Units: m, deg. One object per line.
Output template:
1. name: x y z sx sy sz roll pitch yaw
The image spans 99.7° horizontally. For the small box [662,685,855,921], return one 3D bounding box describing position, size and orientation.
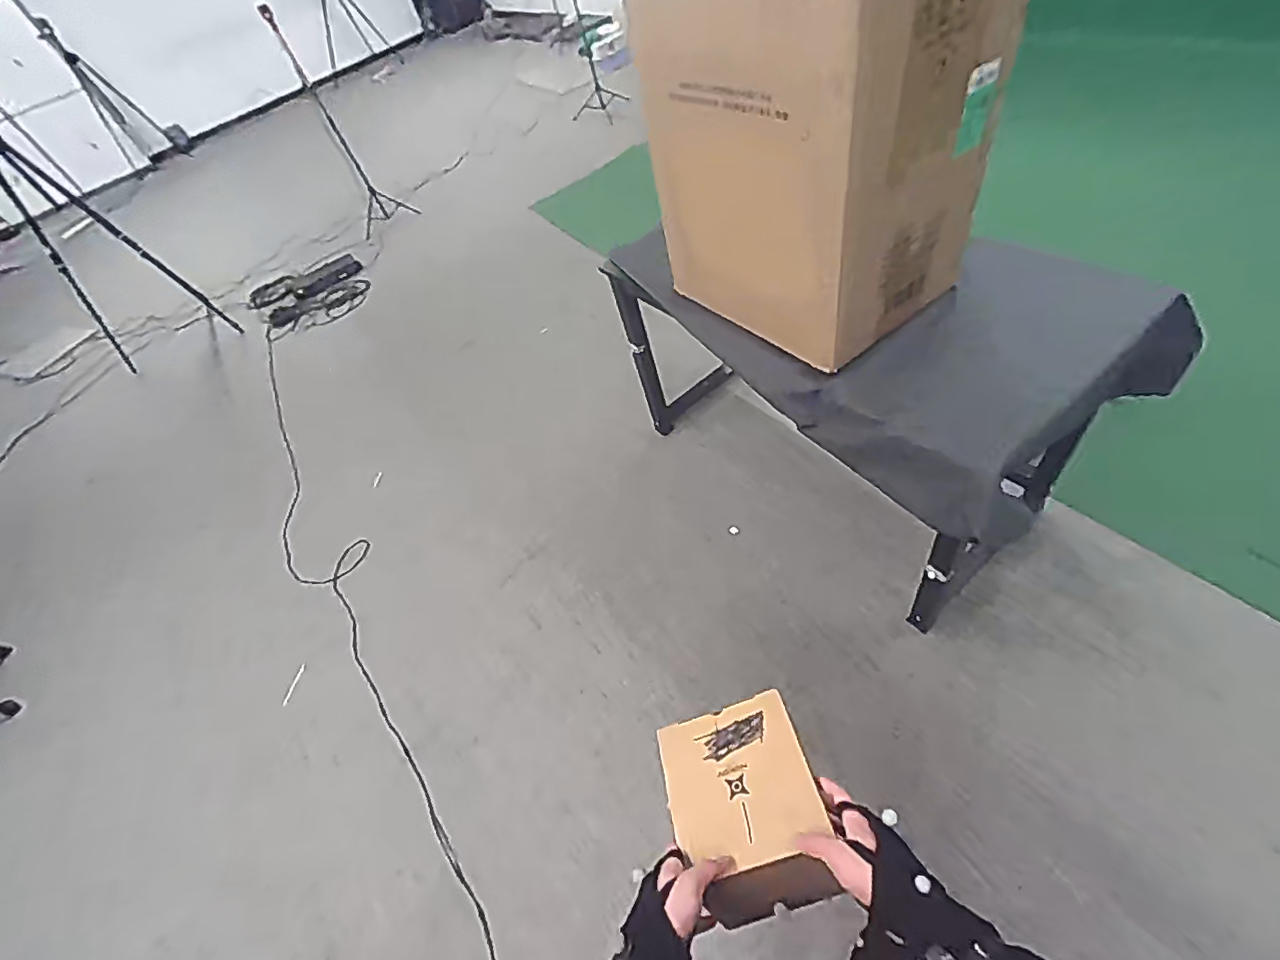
1. small box: 0.142 0.394 0.663 0.168 0.176 0.179 -23 36 5
